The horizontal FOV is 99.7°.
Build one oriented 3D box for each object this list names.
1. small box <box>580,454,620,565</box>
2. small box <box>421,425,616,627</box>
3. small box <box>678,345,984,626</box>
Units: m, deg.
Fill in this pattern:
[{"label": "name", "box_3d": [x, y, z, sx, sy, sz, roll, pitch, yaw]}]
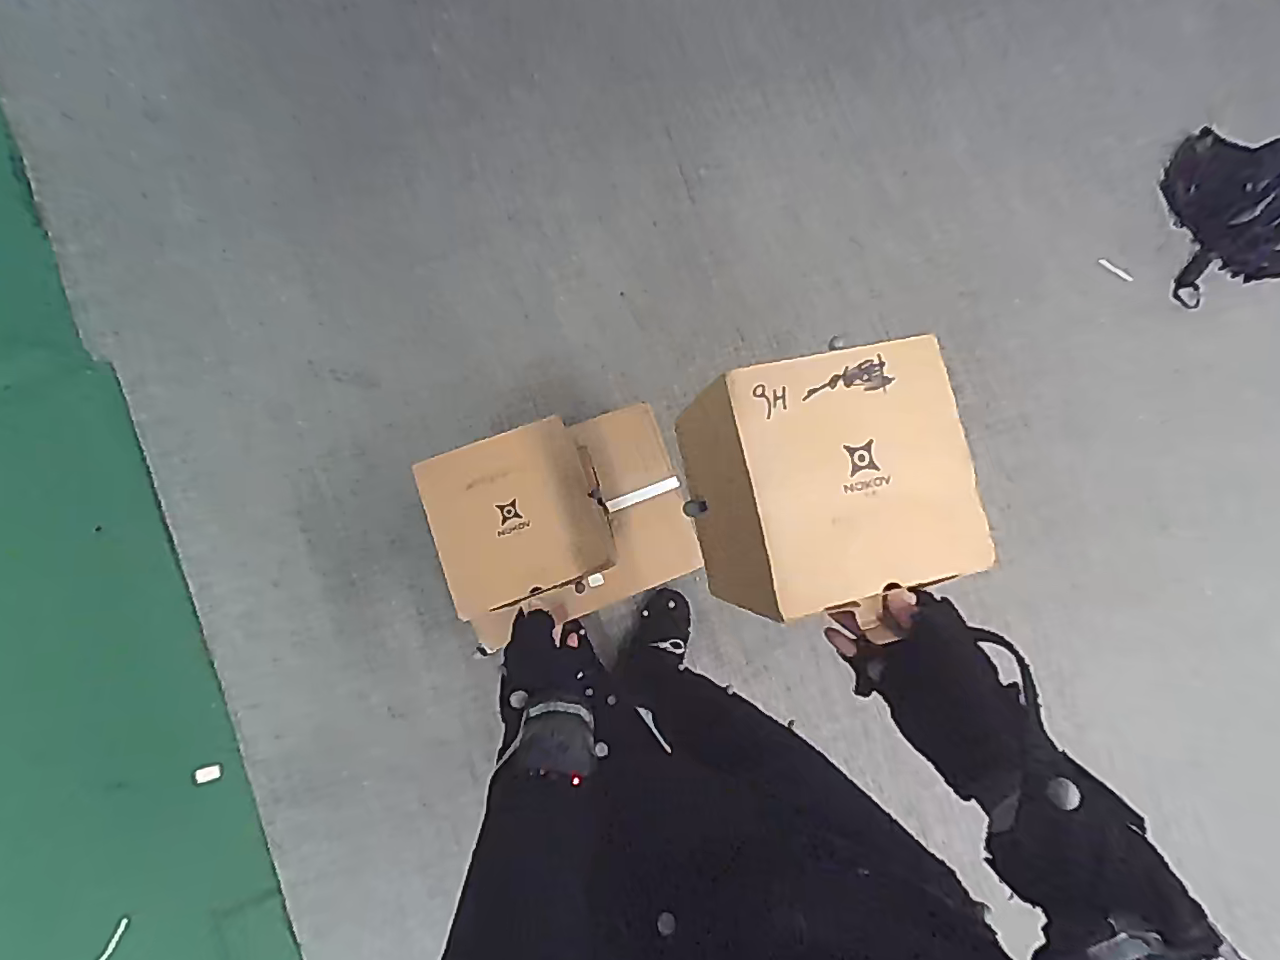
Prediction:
[{"label": "small box", "box_3d": [-0.137, 0.058, 0.827, 0.179, 0.176, 0.168, -13, 91, -5]}, {"label": "small box", "box_3d": [-0.131, 0.057, 0.650, 0.168, 0.176, 0.179, -20, 81, -5]}, {"label": "small box", "box_3d": [0.141, 0.006, 0.461, 0.168, 0.176, 0.179, -12, 87, -10]}]
